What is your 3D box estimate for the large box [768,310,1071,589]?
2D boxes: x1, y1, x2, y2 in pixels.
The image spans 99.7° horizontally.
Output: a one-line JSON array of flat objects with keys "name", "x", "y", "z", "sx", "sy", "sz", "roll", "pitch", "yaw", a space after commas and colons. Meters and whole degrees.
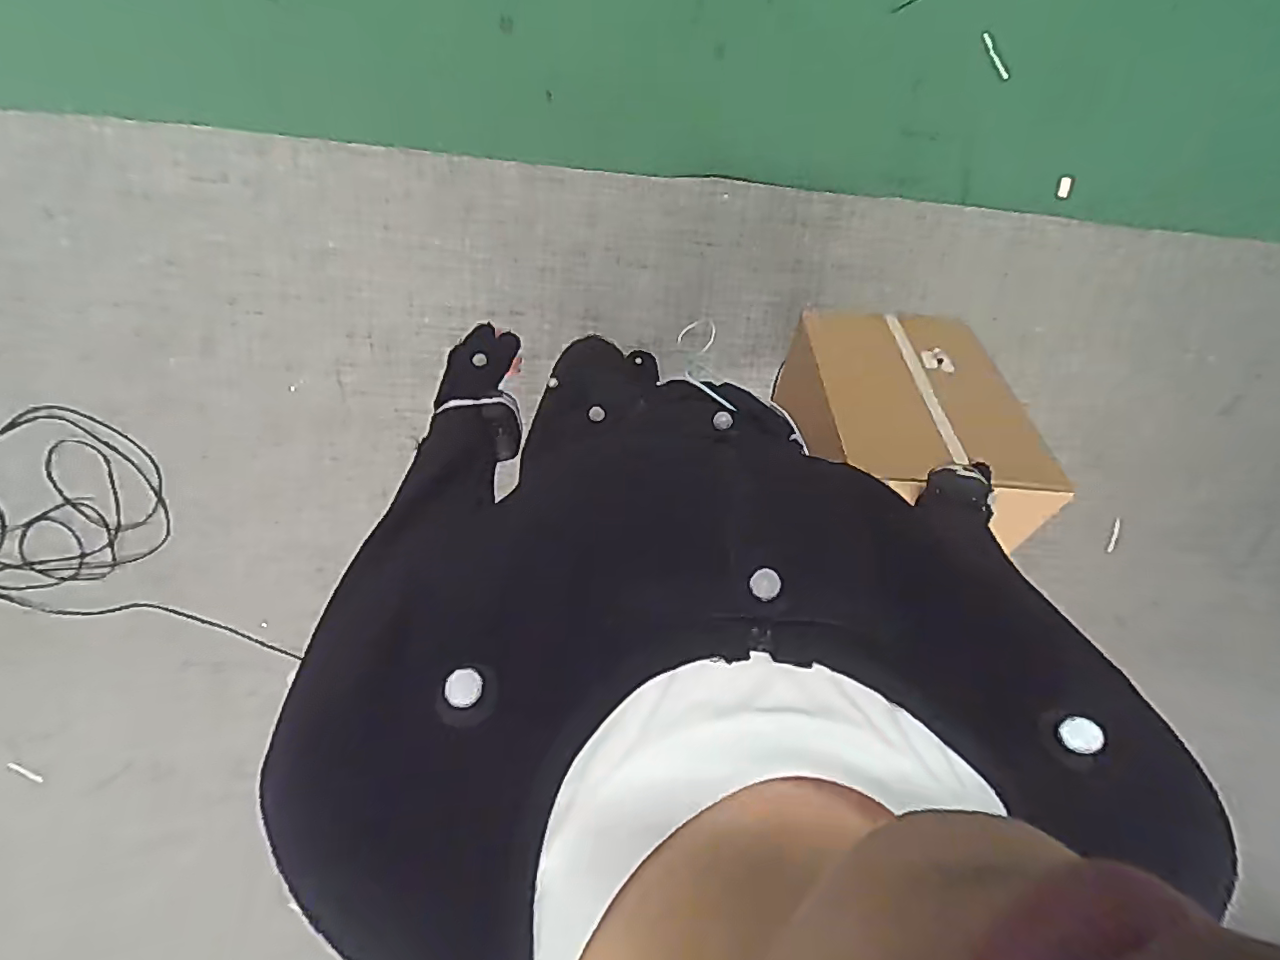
[{"name": "large box", "x": 0.436, "y": -0.053, "z": 0.972, "sx": 0.320, "sy": 0.408, "sz": 0.320, "roll": 4, "pitch": 140, "yaw": -2}]
